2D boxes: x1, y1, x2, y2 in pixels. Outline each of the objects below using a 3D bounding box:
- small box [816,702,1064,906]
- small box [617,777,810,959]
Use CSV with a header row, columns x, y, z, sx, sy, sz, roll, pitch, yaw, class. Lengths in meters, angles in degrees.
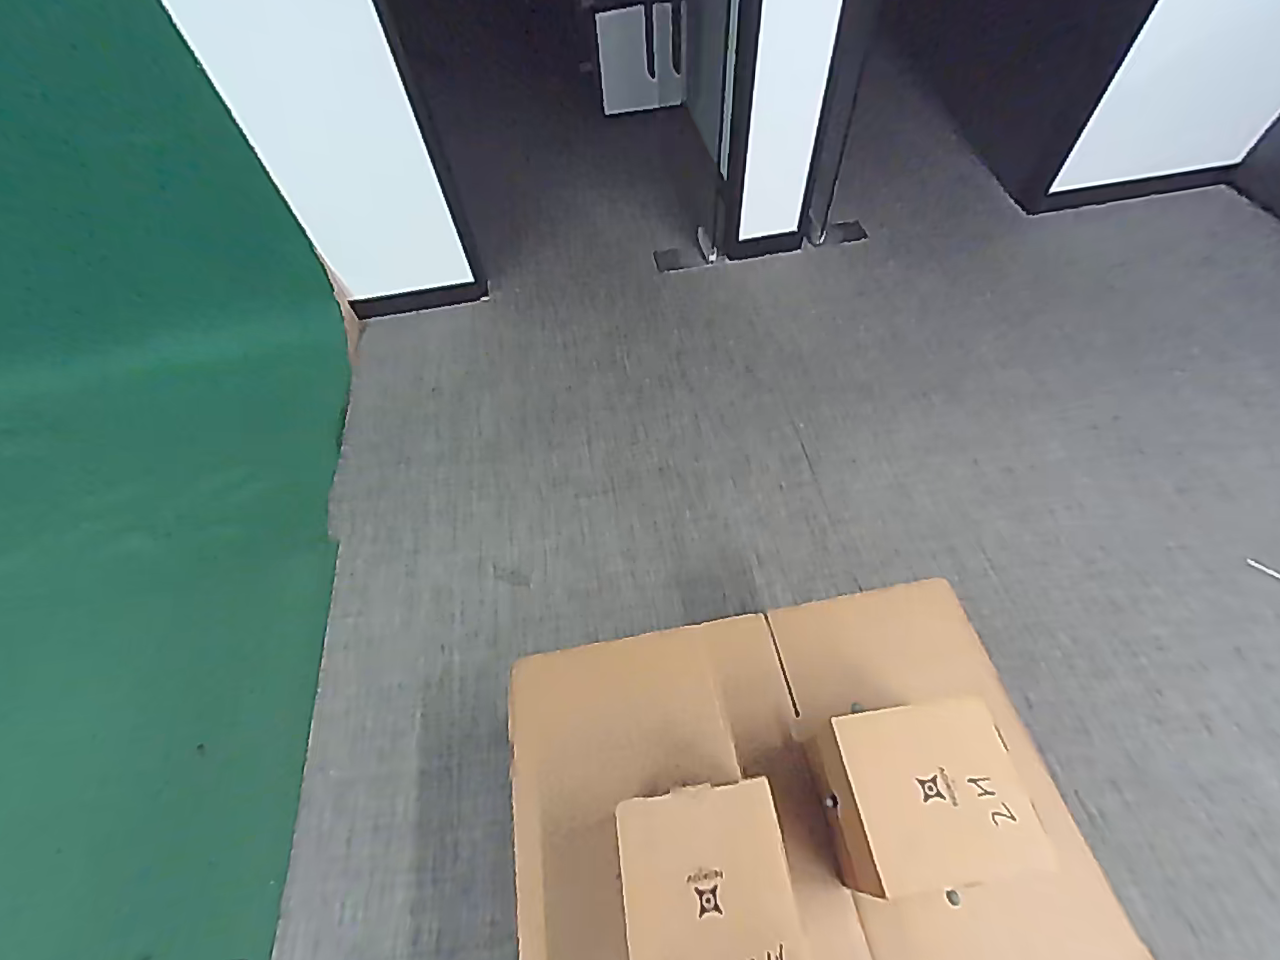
x,y,z,sx,sy,sz,roll,pitch,yaw,class
0.312,0.369,0.617,0.179,0.176,0.168,-9,56,0,small box
0.072,0.442,0.584,0.168,0.176,0.179,-10,53,0,small box
